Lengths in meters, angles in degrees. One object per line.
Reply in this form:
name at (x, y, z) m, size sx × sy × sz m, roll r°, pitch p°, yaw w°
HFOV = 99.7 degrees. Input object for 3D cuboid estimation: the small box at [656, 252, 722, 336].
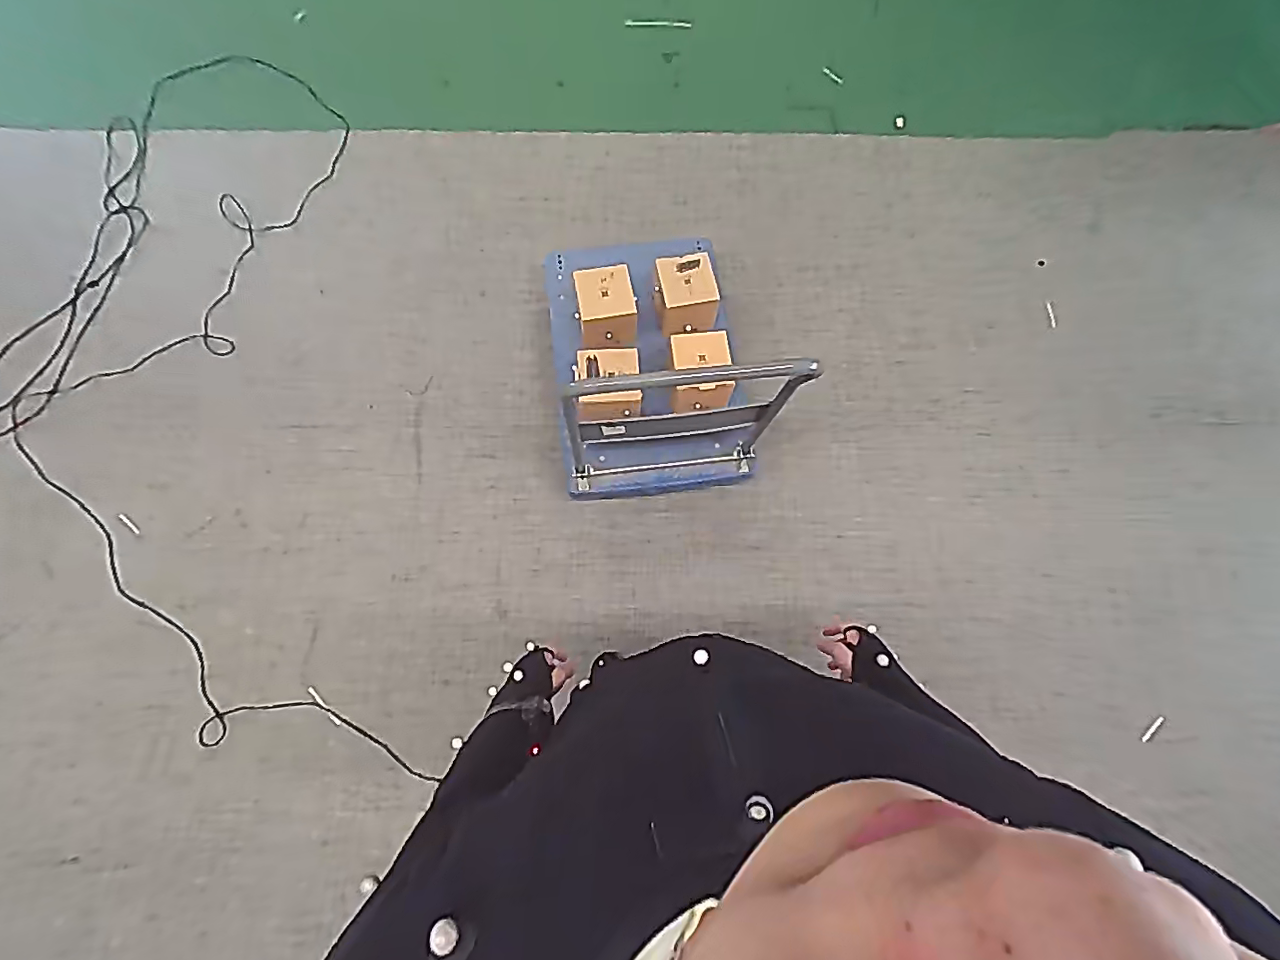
small box at (0.146, -0.576, 1.684) m, size 0.168 × 0.176 × 0.179 m, roll -10°, pitch 74°, yaw -3°

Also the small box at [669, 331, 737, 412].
small box at (0.179, -0.319, 1.607) m, size 0.168 × 0.176 × 0.179 m, roll -5°, pitch 73°, yaw -3°

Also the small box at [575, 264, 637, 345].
small box at (-0.102, -0.531, 1.665) m, size 0.168 × 0.176 × 0.179 m, roll -9°, pitch 73°, yaw -5°
